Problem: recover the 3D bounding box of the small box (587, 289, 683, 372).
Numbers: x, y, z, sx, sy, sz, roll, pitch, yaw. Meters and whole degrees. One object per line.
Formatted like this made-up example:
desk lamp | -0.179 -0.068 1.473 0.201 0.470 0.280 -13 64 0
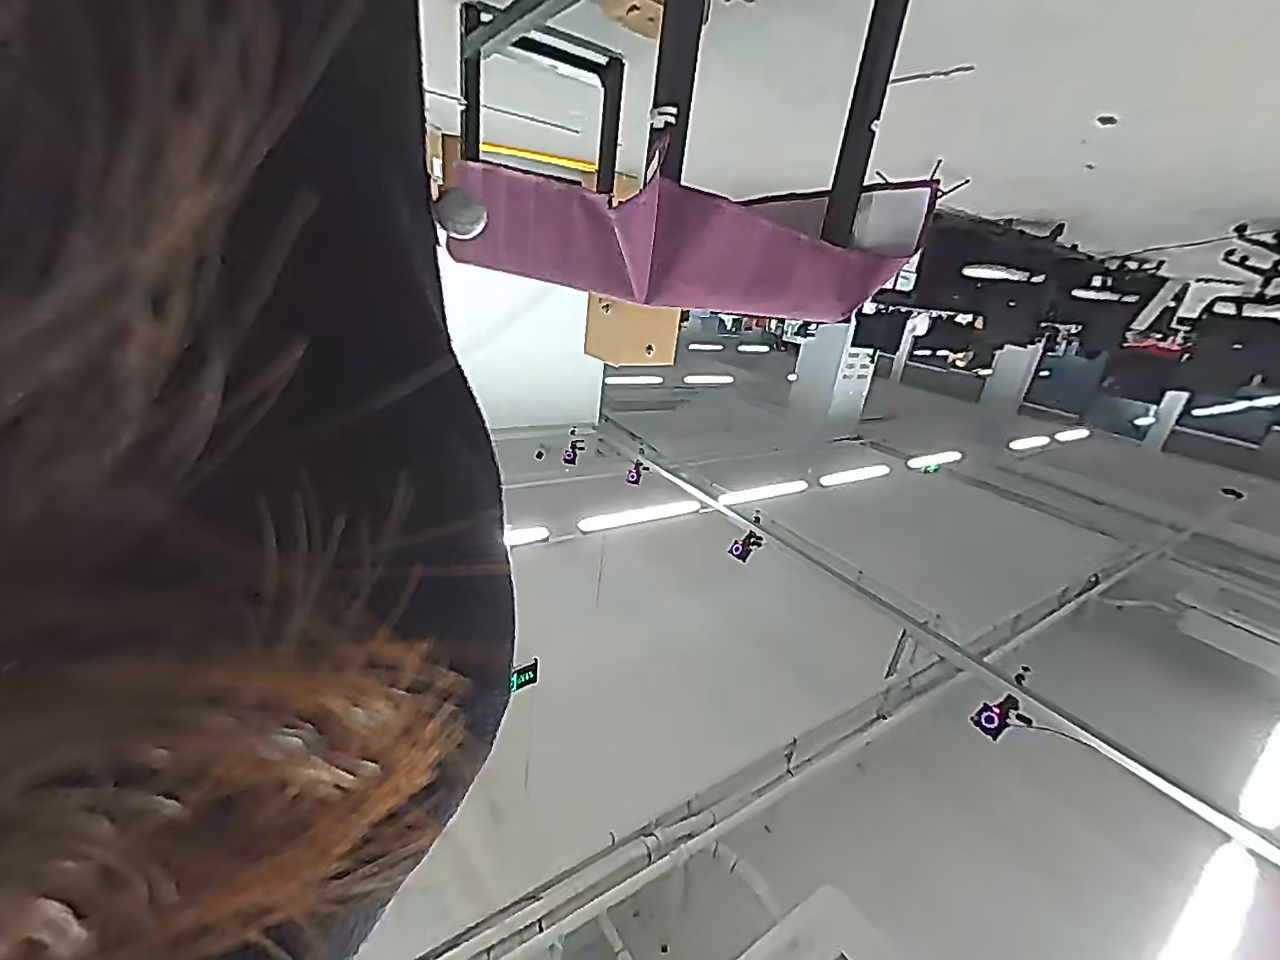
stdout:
small box | -0.012 -0.374 1.347 0.179 0.176 0.168 -8 -154 -34
